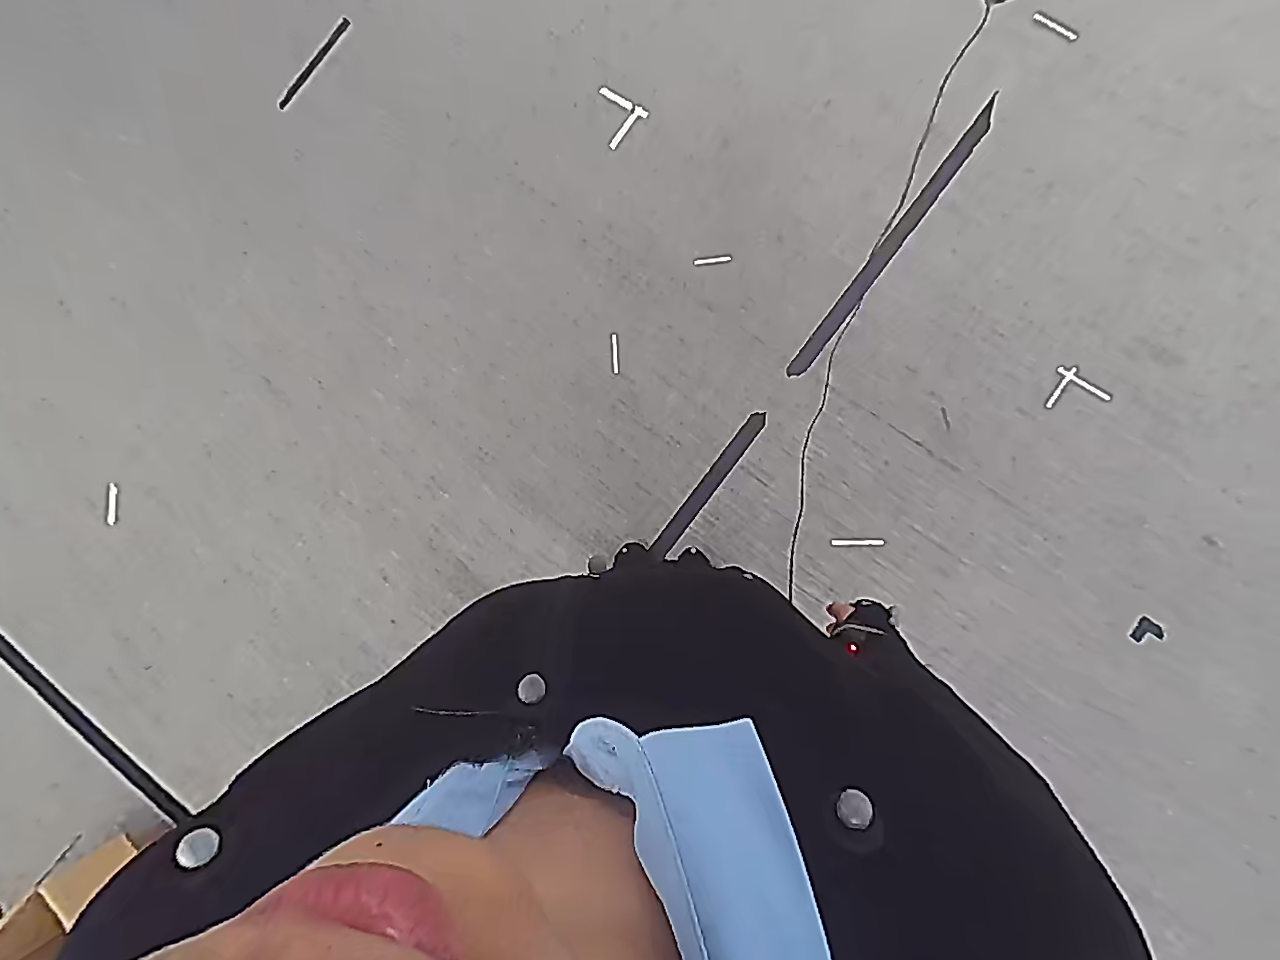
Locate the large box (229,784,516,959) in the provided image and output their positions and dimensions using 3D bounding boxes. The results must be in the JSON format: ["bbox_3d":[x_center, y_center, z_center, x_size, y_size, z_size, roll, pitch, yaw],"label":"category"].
[{"bbox_3d":[-0.541,0.944,1.130,0.408,0.320,0.320,36,88,6],"label":"large box"}]
